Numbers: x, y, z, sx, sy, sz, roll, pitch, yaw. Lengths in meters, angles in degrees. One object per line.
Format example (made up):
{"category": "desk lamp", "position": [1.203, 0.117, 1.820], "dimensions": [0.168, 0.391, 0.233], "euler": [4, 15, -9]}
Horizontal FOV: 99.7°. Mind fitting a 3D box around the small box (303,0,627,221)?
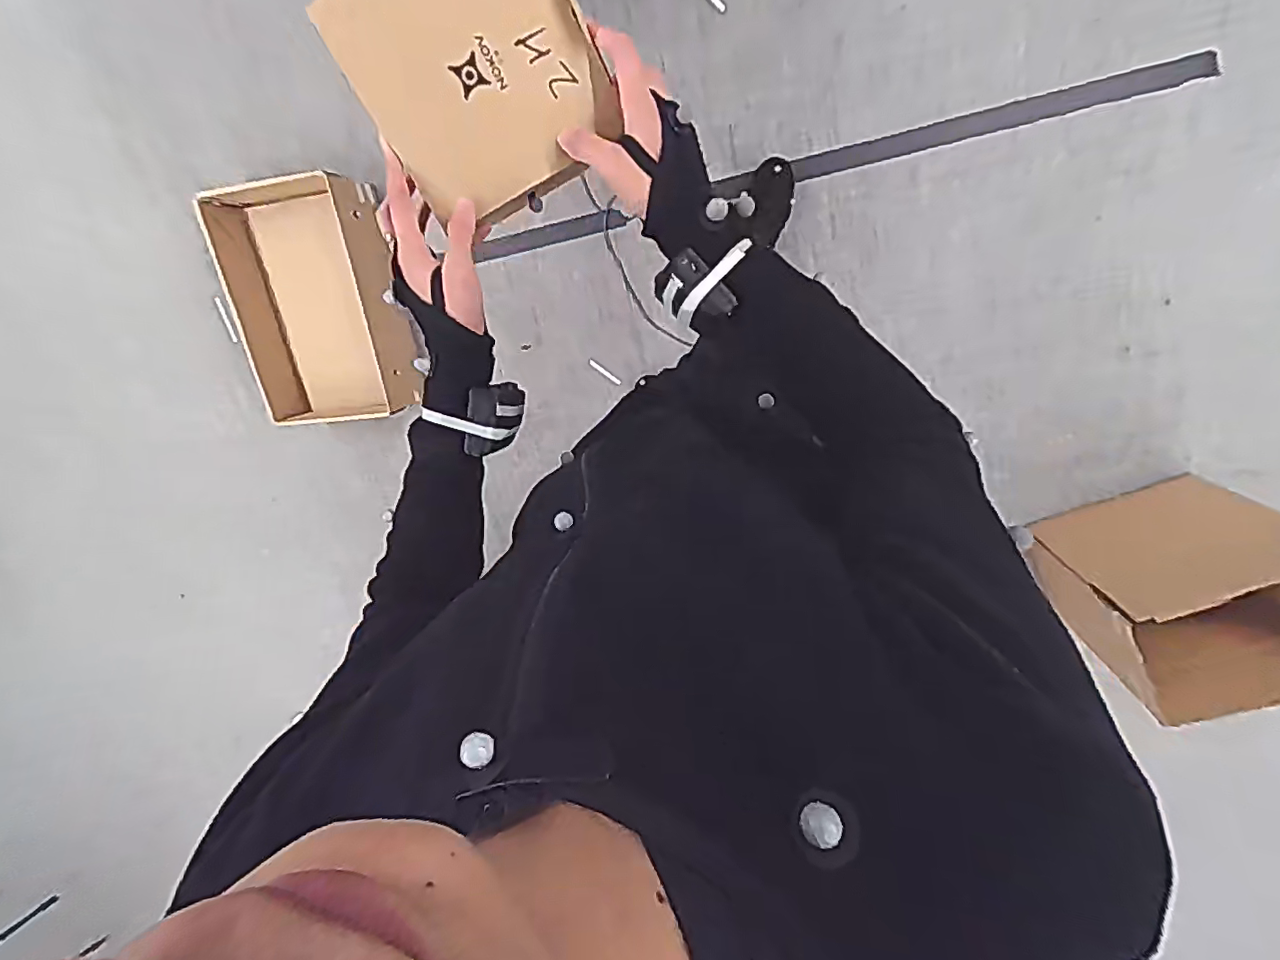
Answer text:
{"category": "small box", "position": [-0.131, -0.339, 0.463], "dimensions": [0.179, 0.176, 0.168], "euler": [-29, 116, 3]}
